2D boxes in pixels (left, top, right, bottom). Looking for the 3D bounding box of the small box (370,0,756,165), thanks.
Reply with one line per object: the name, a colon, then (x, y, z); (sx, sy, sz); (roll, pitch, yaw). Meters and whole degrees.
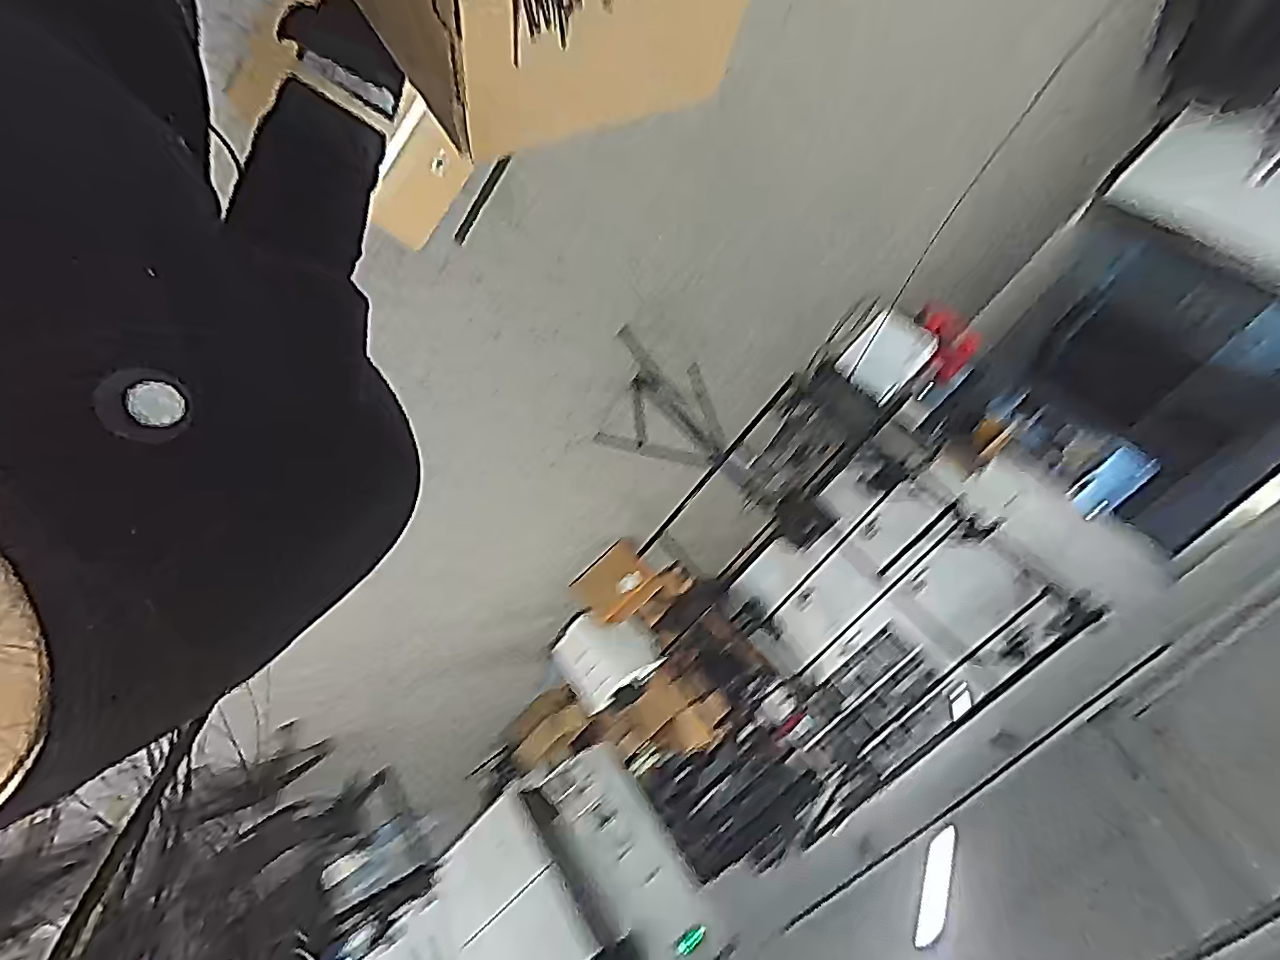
small box: (-0.046, -0.299, 0.259); (0.179, 0.176, 0.168); (-30, 169, -21)
